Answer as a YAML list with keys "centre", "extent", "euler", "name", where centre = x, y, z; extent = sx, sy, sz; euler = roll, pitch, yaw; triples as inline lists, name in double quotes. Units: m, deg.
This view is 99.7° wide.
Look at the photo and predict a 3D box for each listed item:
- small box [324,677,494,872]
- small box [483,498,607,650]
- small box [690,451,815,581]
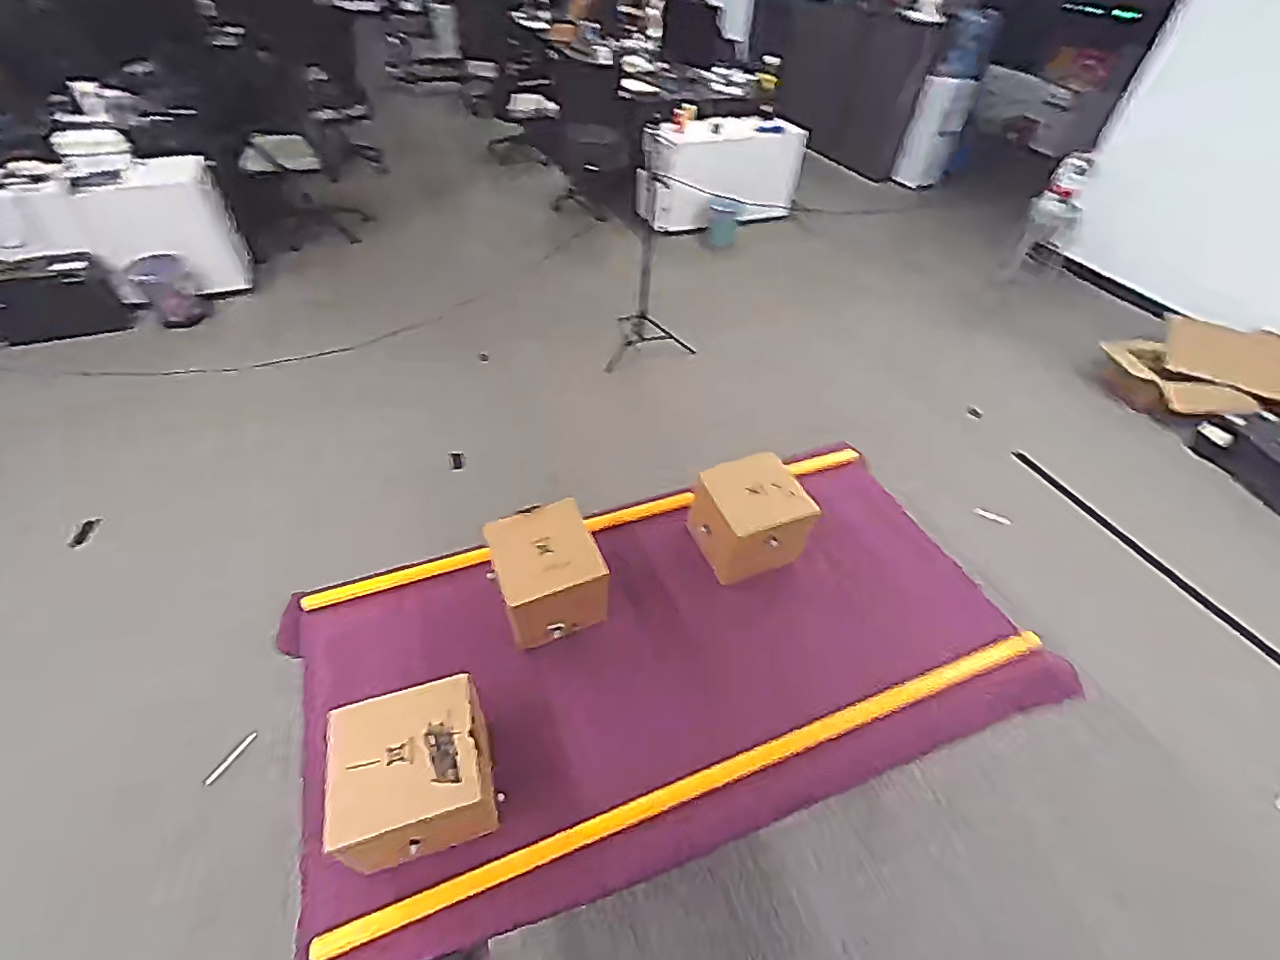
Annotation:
- centre: [-0.298, 0.396, 0.729]
  extent: [0.179, 0.176, 0.168]
  euler: [-12, 49, -15]
  name: "small box"
- centre: [-0.167, 0.166, 0.956]
  extent: [0.168, 0.176, 0.179]
  euler: [-18, 51, -18]
  name: "small box"
- centre: [0.209, 0.074, 1.066]
  extent: [0.179, 0.176, 0.168]
  euler: [-15, 51, -17]
  name: "small box"
